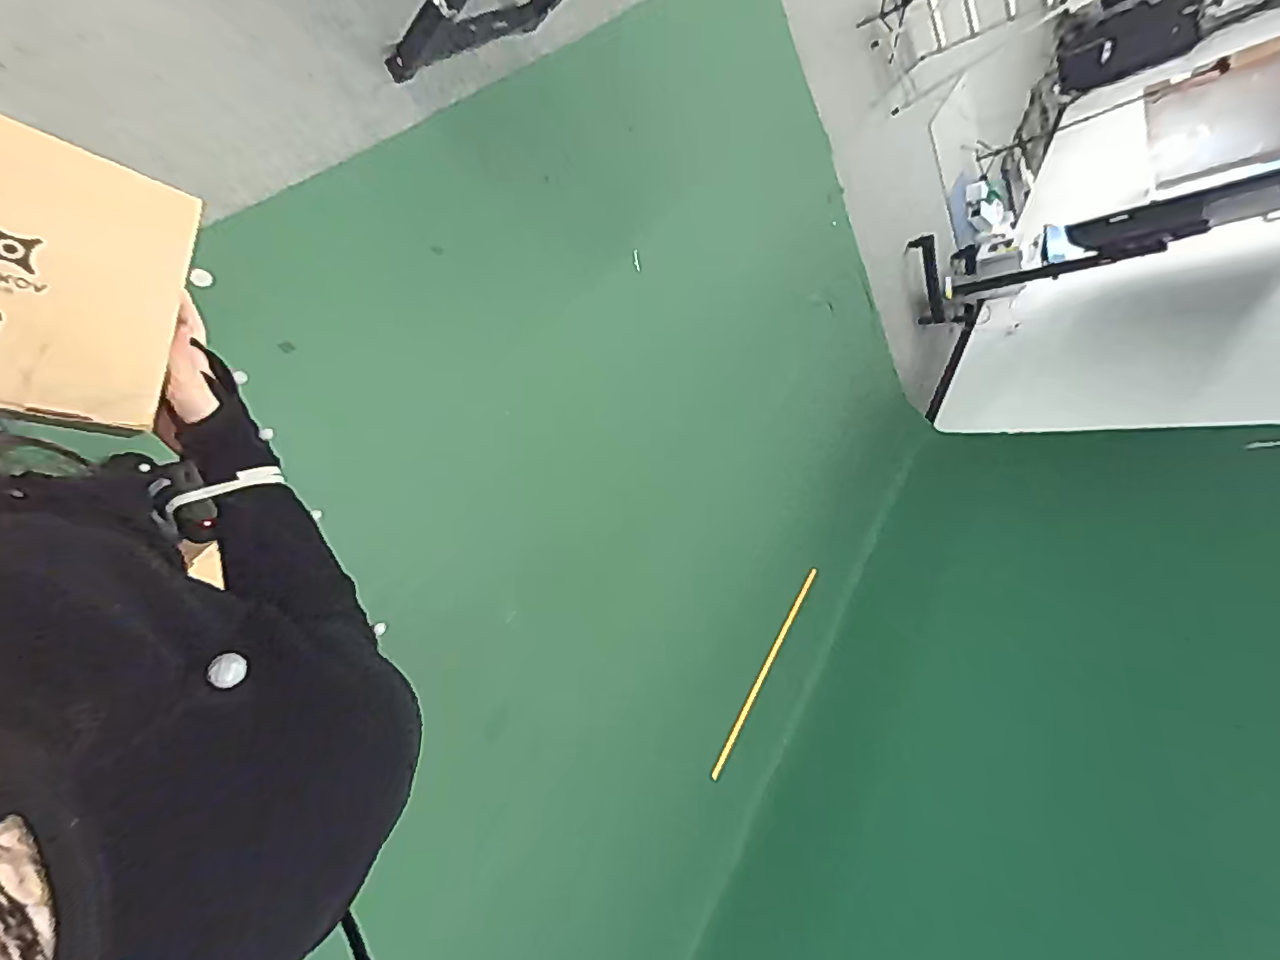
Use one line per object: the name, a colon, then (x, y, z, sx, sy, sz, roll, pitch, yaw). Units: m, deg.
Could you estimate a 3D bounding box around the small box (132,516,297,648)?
small box: (-0.806, 0.184, 1.028, 0.168, 0.176, 0.179, -53, 126, -30)
